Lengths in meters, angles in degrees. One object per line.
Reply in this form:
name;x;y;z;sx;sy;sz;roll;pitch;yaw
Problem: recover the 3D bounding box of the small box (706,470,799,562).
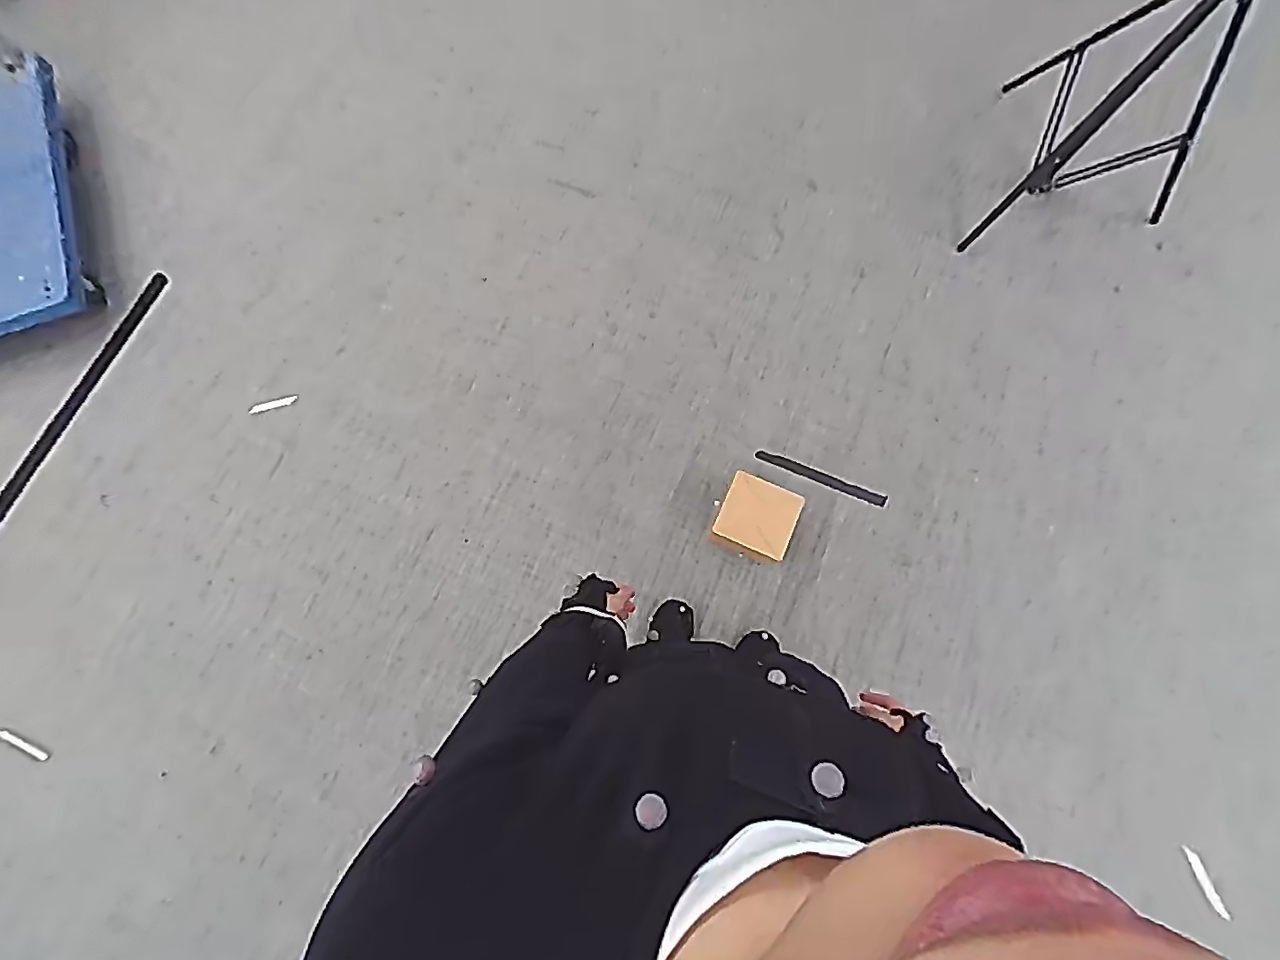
small box;0.281;0.094;1.349;0.179;0.176;0.168;24;80;5
